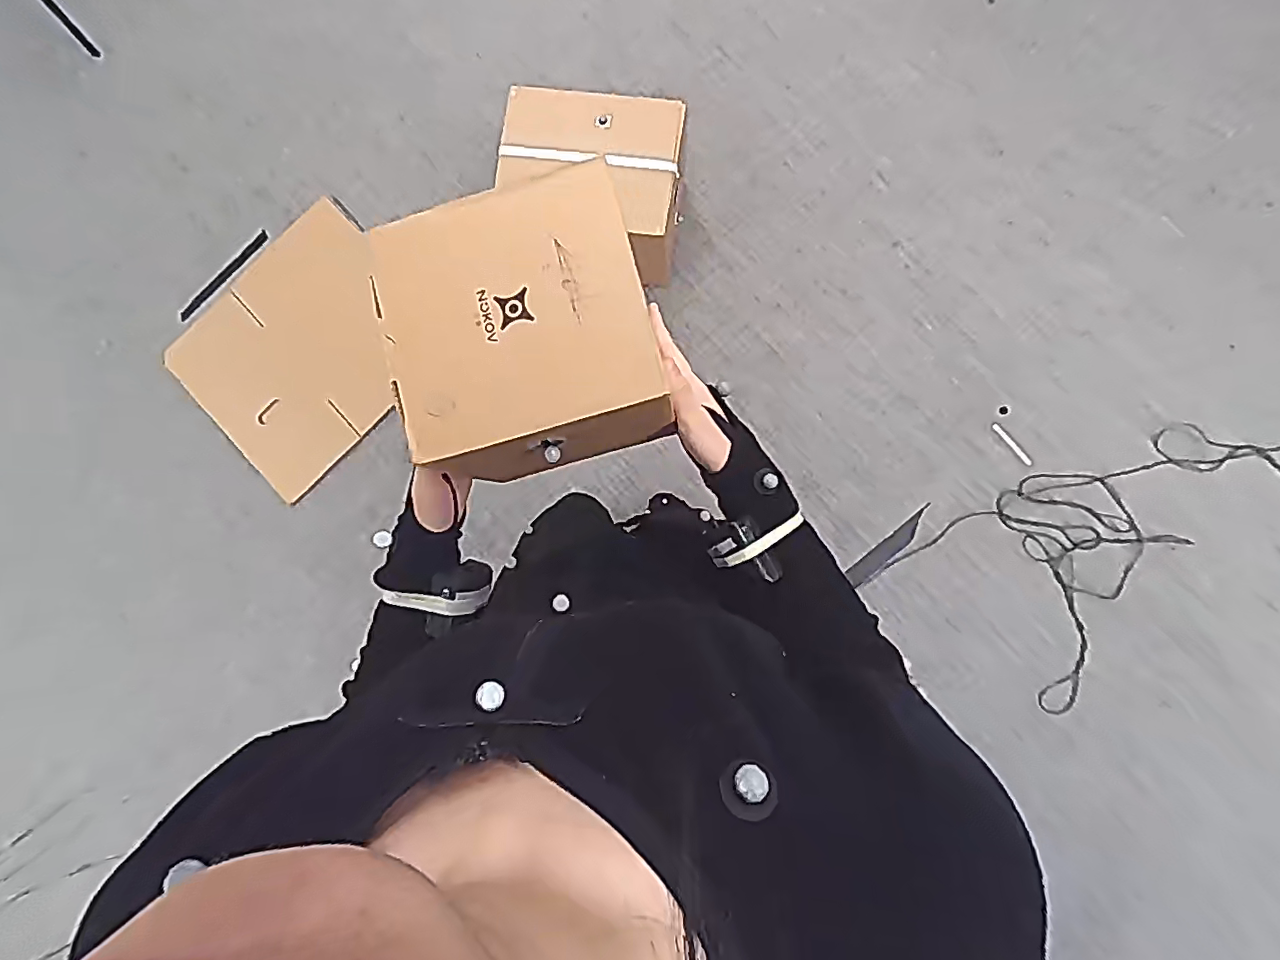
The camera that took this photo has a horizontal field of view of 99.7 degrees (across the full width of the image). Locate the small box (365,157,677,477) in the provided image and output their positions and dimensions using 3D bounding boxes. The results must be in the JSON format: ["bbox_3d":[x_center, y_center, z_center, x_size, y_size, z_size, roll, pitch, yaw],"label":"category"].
[{"bbox_3d":[-0.075,-0.104,0.428,0.179,0.176,0.168,-16,85,4],"label":"small box"}]
